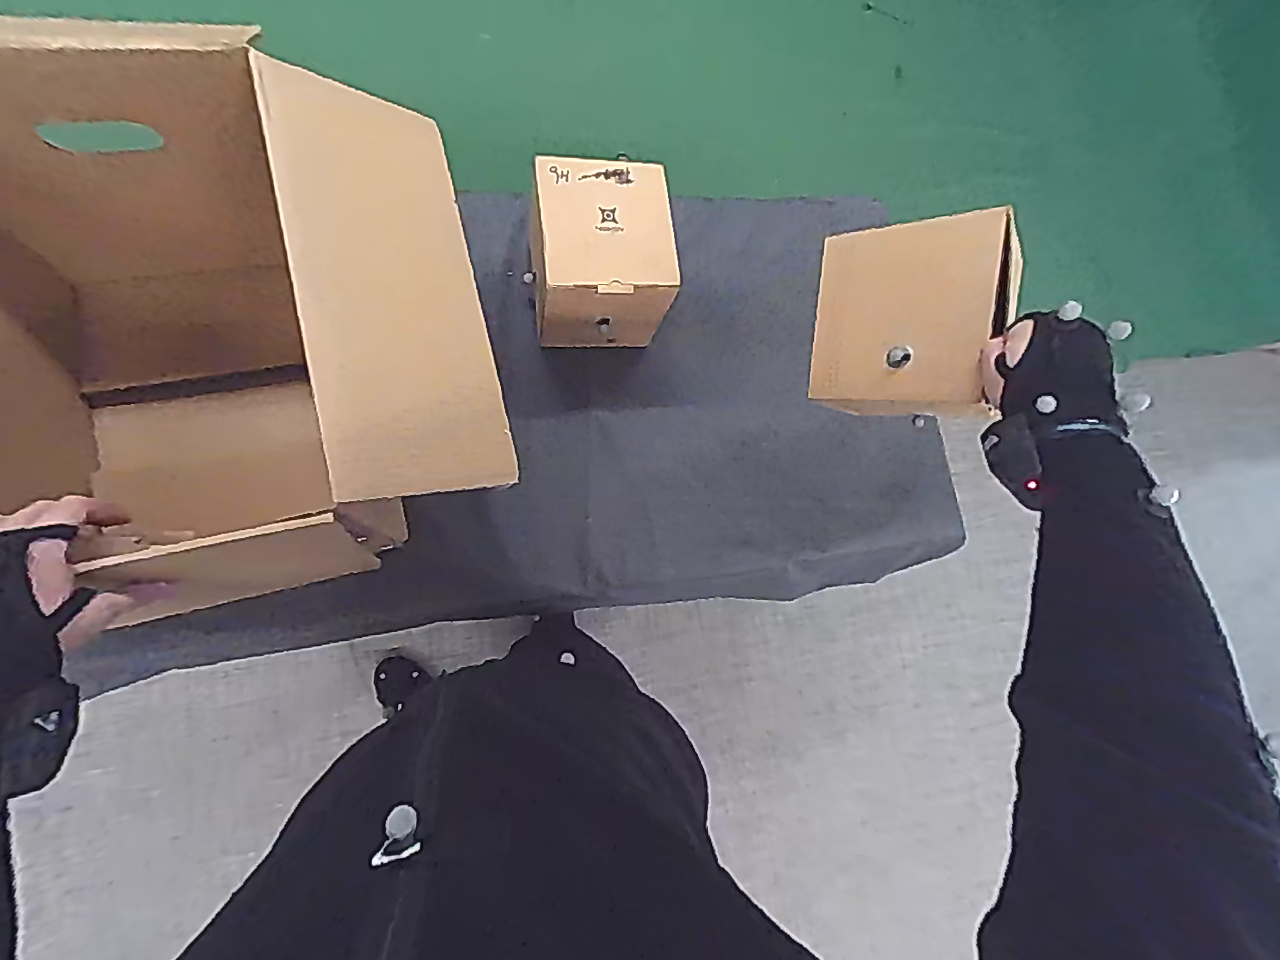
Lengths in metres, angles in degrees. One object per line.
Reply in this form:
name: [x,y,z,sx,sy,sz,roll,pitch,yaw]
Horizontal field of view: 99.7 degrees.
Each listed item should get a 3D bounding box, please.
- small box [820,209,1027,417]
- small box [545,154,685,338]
small box: [0.314,-0.169,0.605,0.168,0.176,0.179,0,97,-52]
small box: [-0.043,-0.308,0.748,0.168,0.176,0.179,-3,82,-13]
